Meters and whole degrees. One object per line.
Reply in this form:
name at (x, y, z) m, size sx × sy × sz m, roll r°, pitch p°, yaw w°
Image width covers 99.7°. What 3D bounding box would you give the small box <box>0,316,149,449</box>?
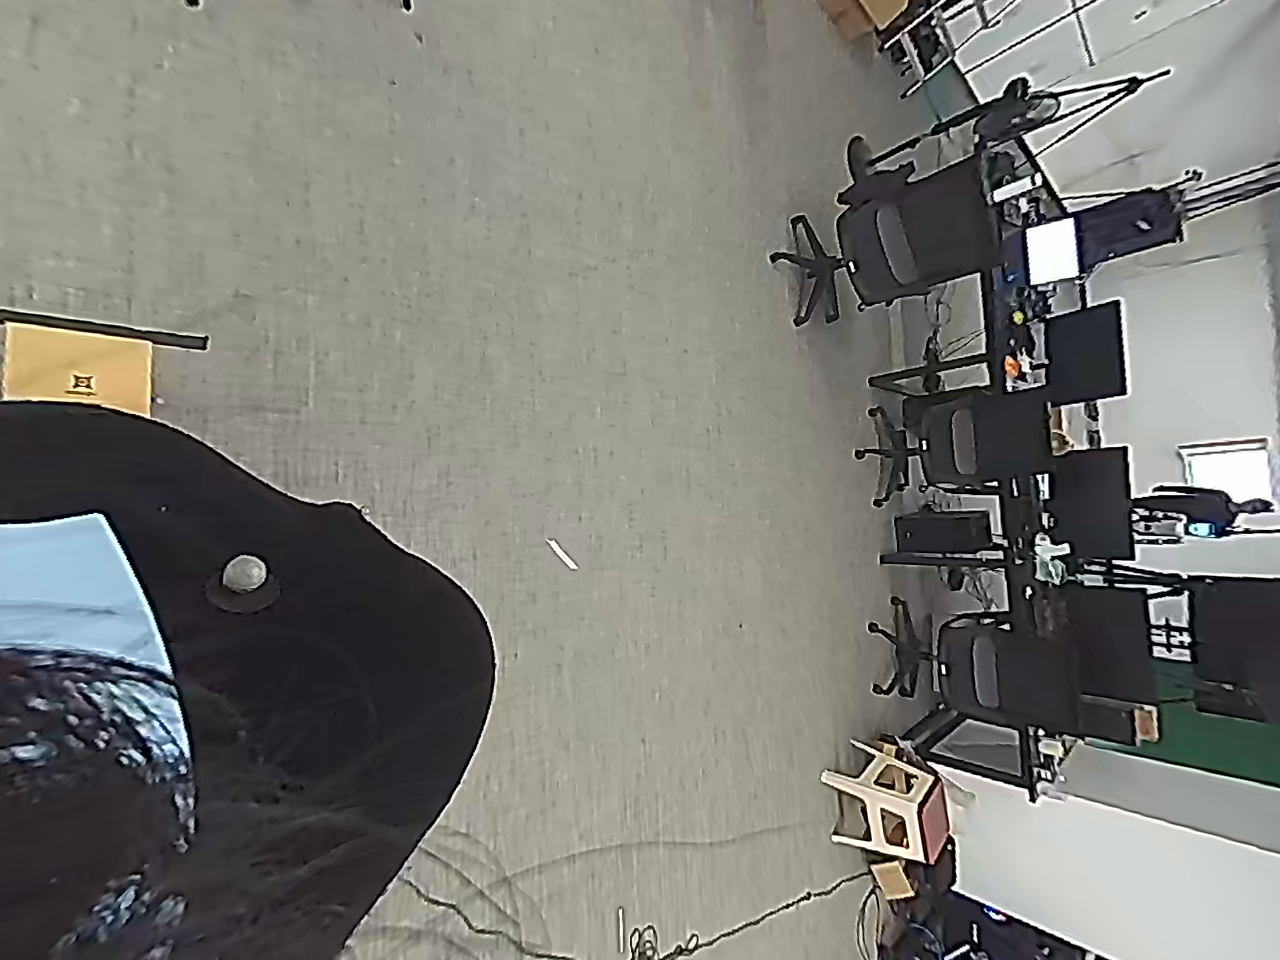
small box at (-0.943, -0.151, 0.909) m, size 0.168 × 0.176 × 0.179 m, roll 2°, pitch 85°, yaw -43°
